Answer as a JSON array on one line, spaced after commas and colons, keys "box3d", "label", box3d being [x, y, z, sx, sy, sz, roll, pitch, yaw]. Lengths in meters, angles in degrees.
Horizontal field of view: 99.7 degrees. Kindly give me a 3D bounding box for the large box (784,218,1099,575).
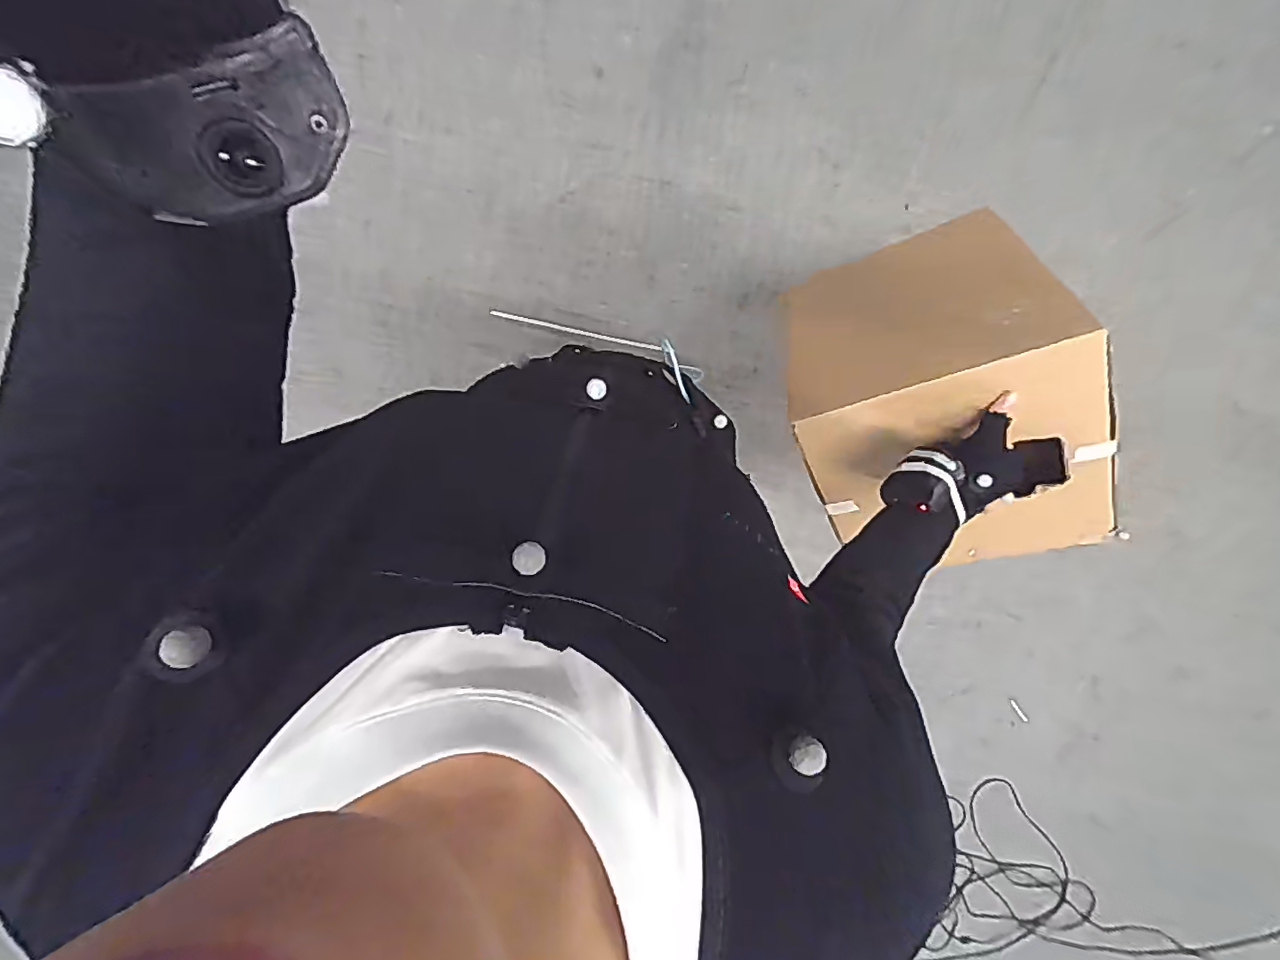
[{"box3d": [0.412, -0.121, 0.808, 0.320, 0.408, 0.320, -13, 126, 27], "label": "large box"}]
